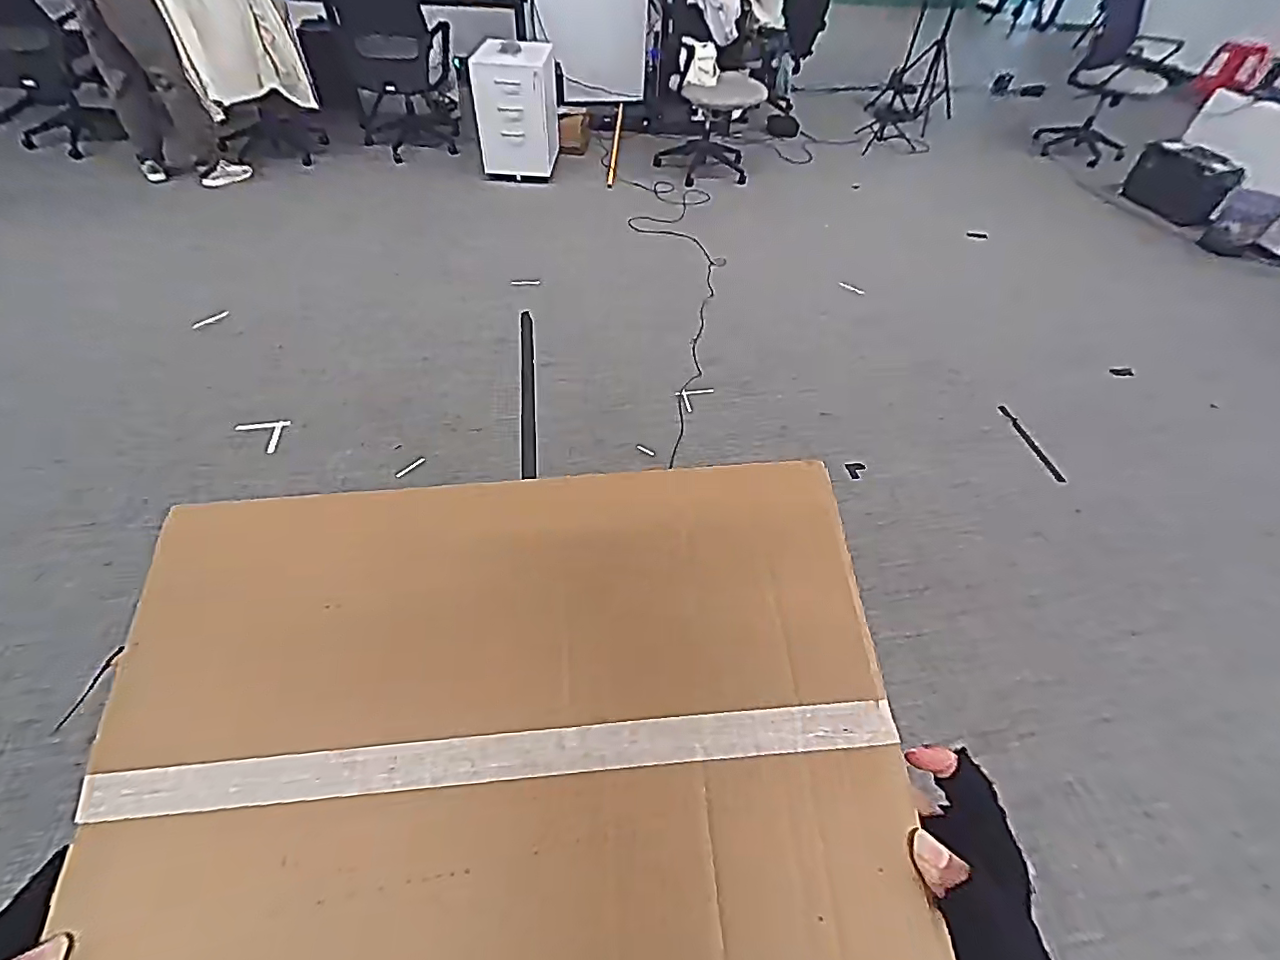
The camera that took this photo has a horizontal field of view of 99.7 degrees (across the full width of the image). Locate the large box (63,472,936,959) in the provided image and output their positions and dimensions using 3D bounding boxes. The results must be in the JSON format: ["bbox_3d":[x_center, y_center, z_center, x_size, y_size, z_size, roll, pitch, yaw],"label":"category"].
[{"bbox_3d":[-0.072,0.213,0.417,0.408,0.320,0.320,-4,65,-2],"label":"large box"}]
